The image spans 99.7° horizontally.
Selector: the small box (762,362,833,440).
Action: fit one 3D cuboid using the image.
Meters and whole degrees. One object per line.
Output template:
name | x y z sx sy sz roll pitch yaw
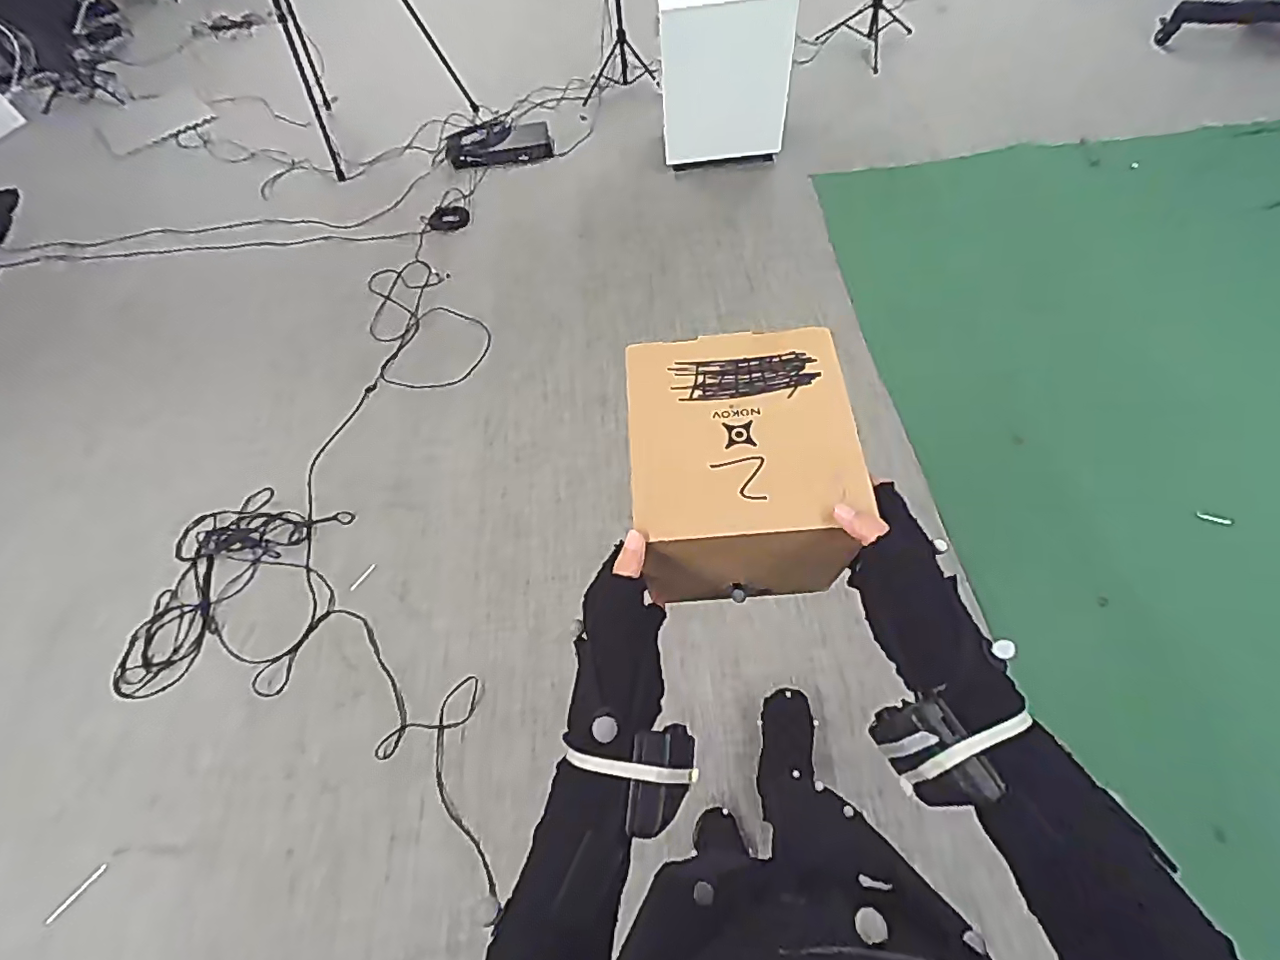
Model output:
small box | 0.476 -0.234 1.663 0.168 0.176 0.179 -6 59 2
